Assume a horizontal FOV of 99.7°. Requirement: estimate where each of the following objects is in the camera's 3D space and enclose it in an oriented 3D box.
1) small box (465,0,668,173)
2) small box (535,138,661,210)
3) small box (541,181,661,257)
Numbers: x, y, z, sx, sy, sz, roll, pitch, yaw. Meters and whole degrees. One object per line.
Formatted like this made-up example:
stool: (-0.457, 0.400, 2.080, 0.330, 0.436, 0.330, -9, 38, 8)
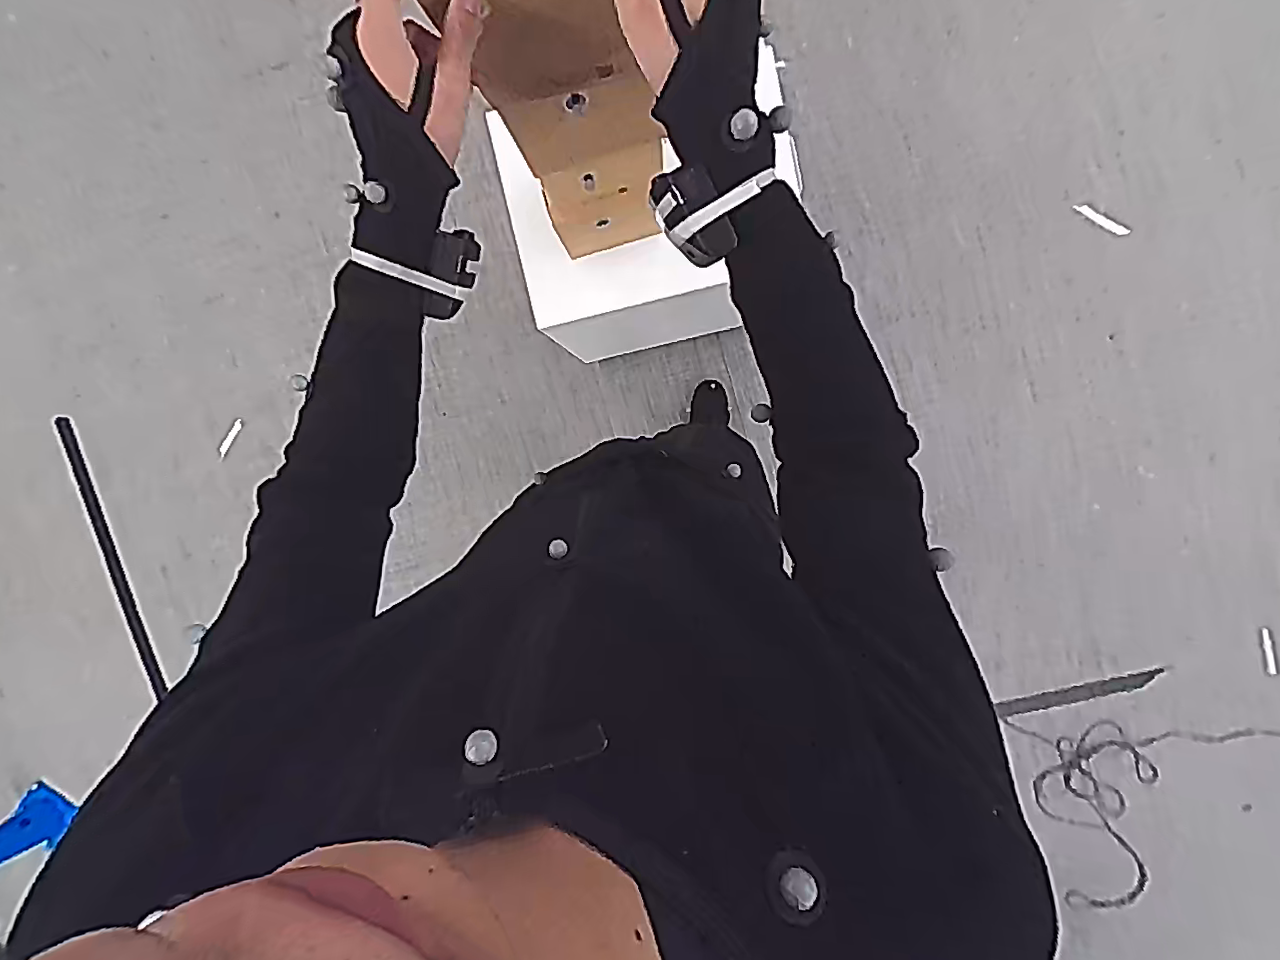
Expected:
small box: (-0.072, -0.462, 0.575, 0.179, 0.176, 0.168, -14, 95, 4)
small box: (-0.068, -0.494, 0.738, 0.168, 0.176, 0.179, -14, 94, 4)
small box: (-0.067, -0.494, 0.901, 0.179, 0.176, 0.168, -15, 95, 4)
